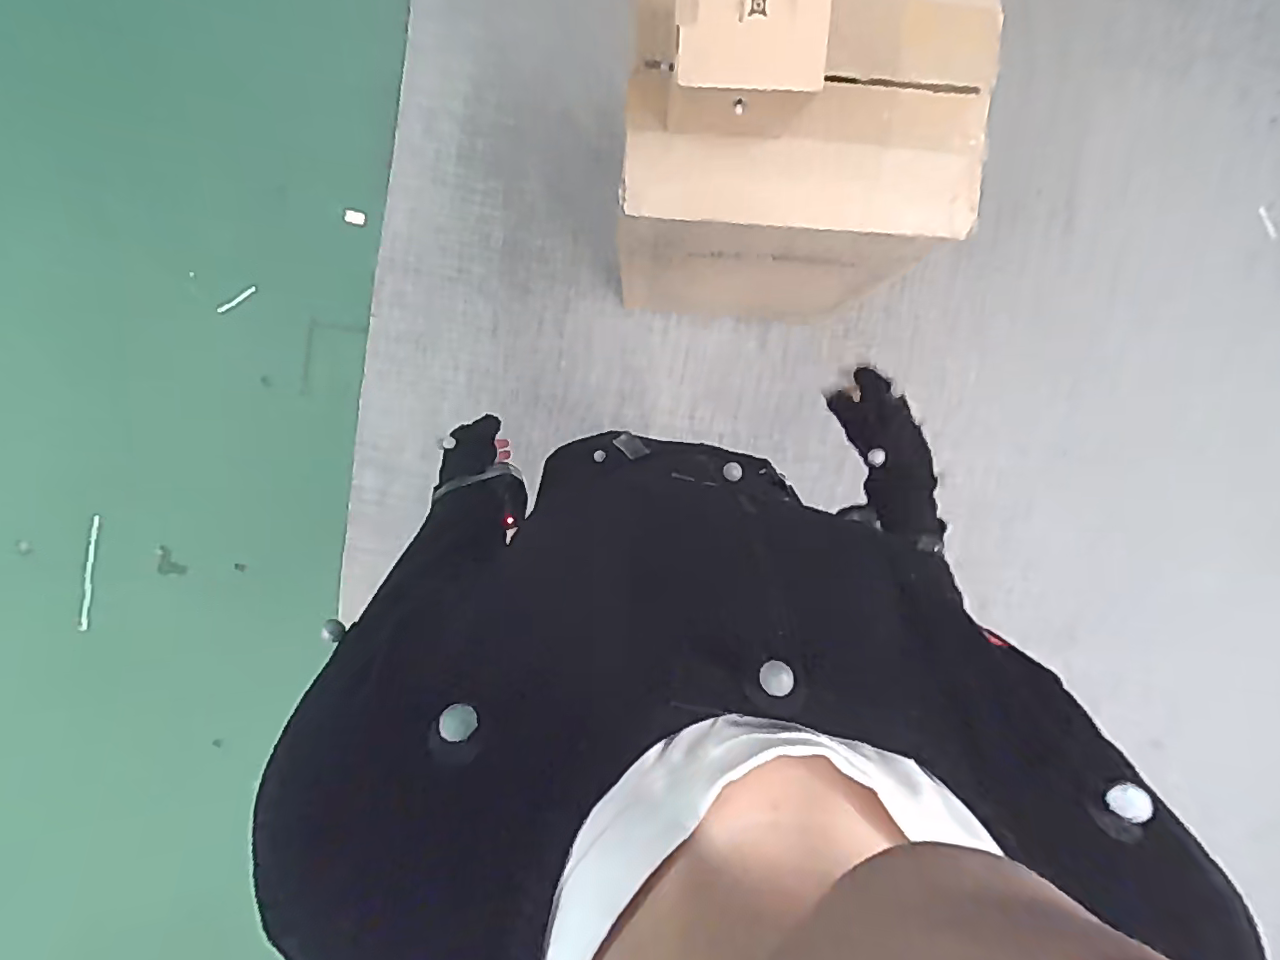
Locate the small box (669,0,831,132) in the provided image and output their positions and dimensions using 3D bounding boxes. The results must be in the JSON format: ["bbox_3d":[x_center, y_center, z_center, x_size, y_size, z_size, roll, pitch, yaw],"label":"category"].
[{"bbox_3d":[0.130,-0.564,0.689,0.179,0.176,0.168,1,107,-2],"label":"small box"}]
